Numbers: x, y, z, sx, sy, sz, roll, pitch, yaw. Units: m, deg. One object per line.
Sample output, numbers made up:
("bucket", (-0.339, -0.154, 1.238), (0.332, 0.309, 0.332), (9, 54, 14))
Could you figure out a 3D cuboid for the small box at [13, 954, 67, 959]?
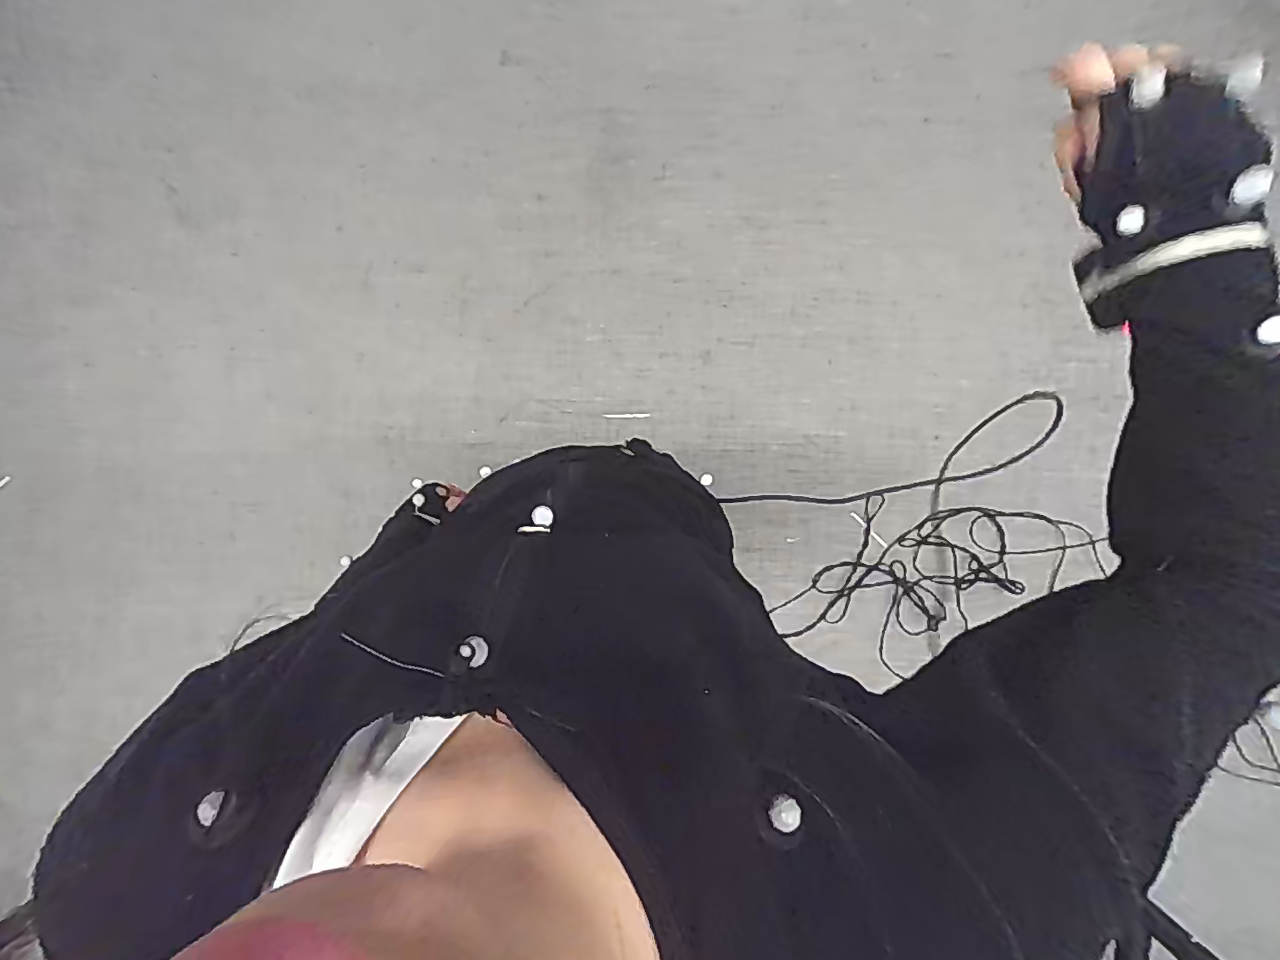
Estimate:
("small box", (-1.715, 1.451, 1.478), (0.179, 0.176, 0.168), (7, 93, -1))
